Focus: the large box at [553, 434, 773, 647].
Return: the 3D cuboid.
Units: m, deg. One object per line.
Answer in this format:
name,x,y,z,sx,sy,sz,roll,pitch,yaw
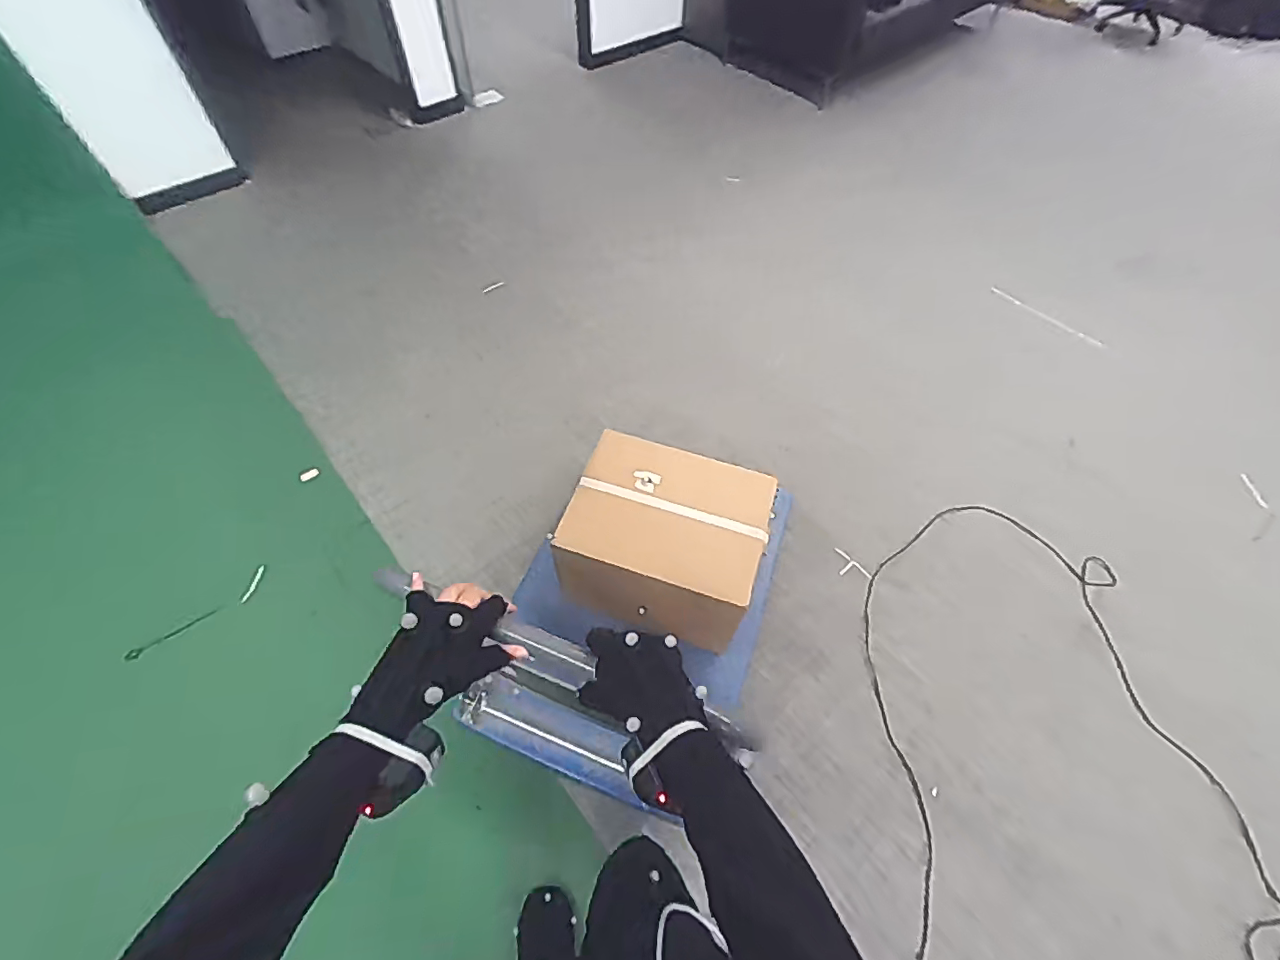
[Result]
large box,0.057,0.145,1.251,0.408,0.320,0.320,16,57,9
